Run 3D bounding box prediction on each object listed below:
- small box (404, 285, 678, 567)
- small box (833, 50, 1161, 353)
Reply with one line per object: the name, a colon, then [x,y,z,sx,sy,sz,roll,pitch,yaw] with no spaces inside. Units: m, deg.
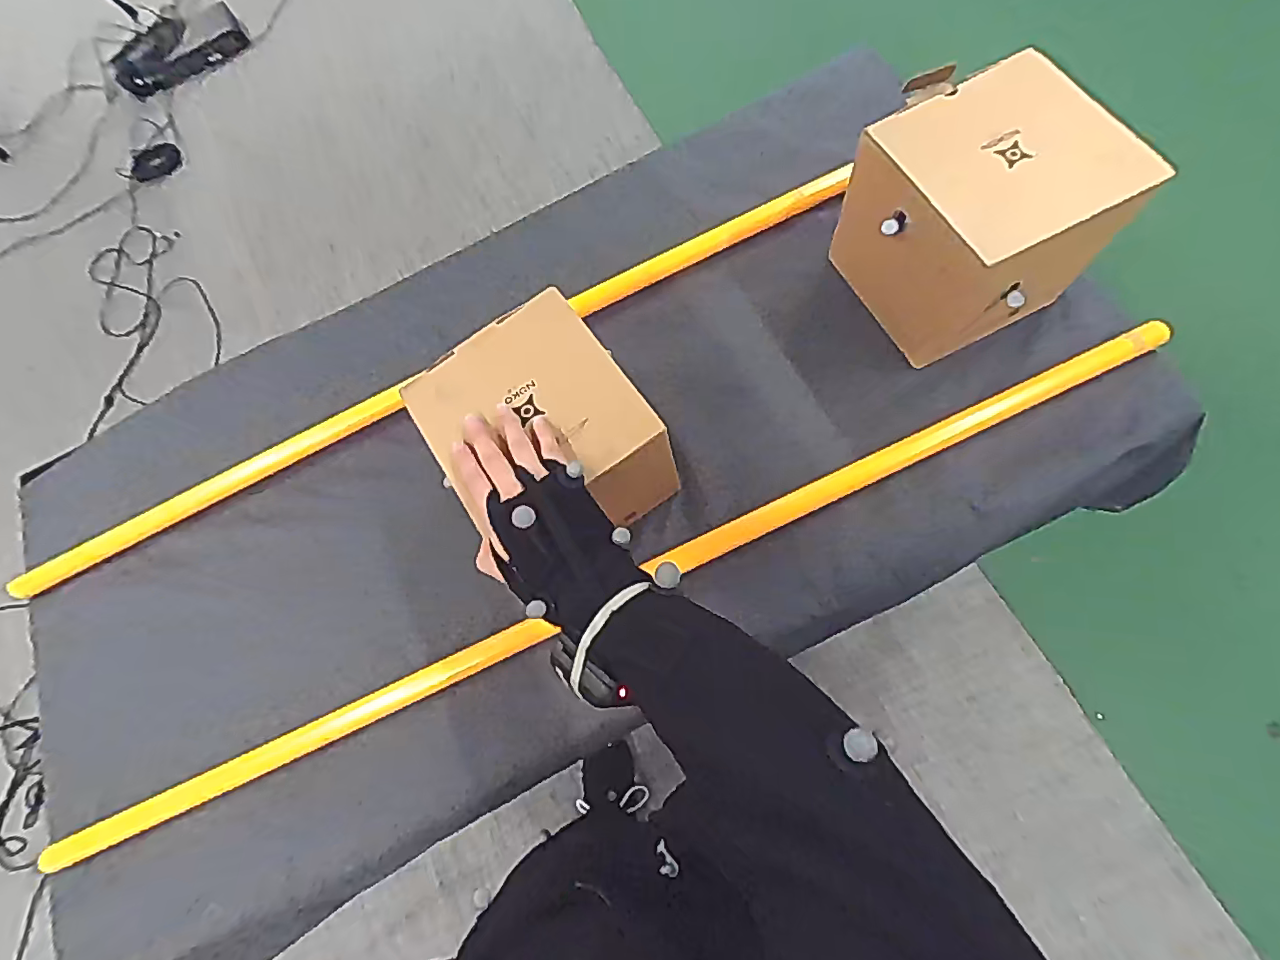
small box: [-0.080,-0.038,0.516,0.168,0.176,0.179,-36,71,-3]
small box: [0.314,-0.249,0.526,0.168,0.176,0.179,-27,70,0]
